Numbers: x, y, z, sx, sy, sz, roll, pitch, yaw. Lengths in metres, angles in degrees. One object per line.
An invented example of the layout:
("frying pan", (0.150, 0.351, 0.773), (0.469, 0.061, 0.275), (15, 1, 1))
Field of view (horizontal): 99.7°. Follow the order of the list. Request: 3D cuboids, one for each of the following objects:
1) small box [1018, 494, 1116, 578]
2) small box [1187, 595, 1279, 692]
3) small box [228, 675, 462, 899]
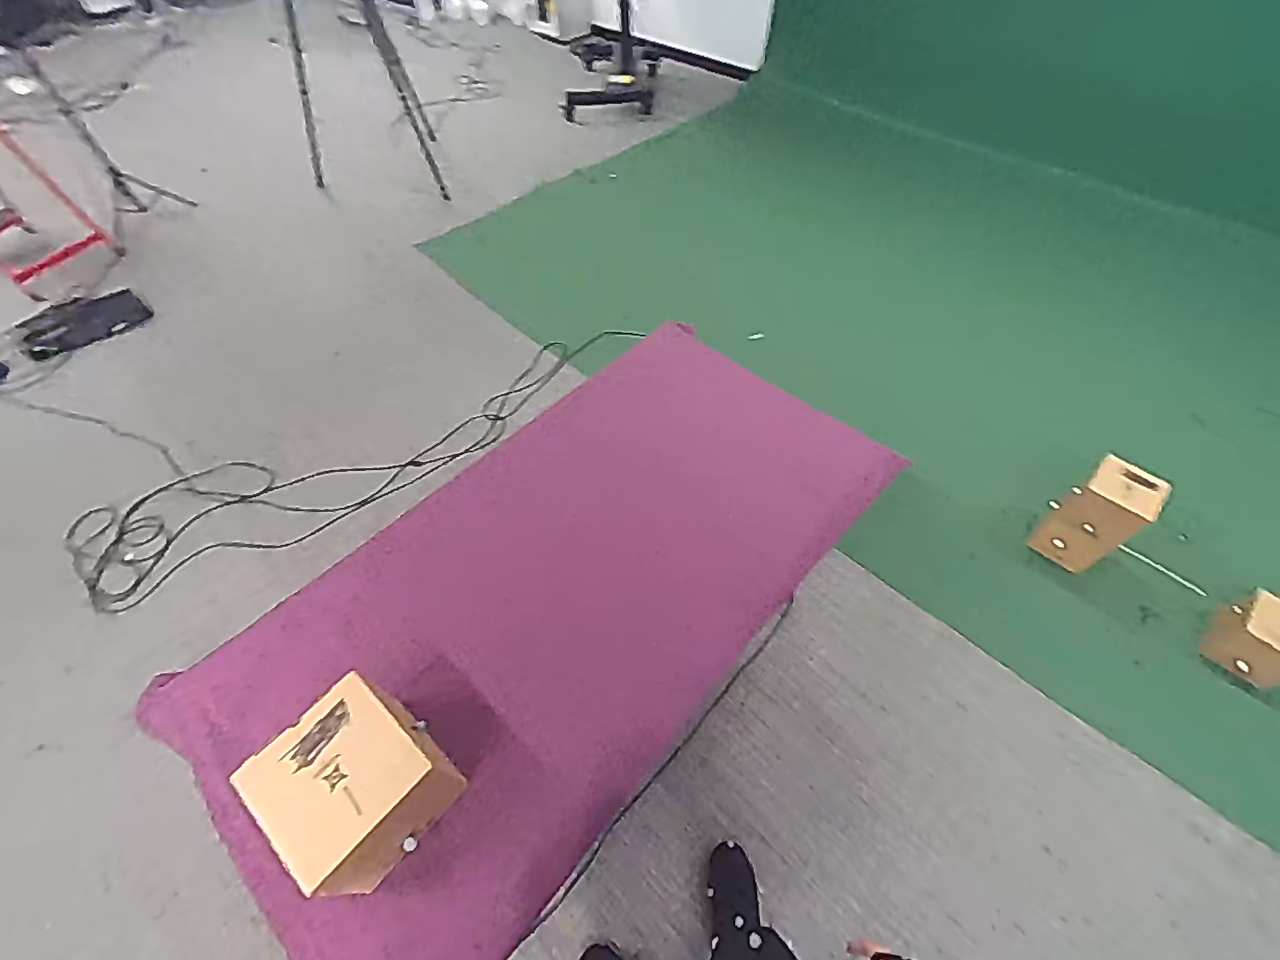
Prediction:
("small box", (1.378, 0.186, 1.758), (0.168, 0.176, 0.179), (38, 61, 25))
("small box", (1.735, 0.470, 1.545), (0.179, 0.176, 0.168), (-39, 62, -25))
("small box", (-0.360, 0.390, 0.690), (0.179, 0.176, 0.168), (35, 61, 22))
